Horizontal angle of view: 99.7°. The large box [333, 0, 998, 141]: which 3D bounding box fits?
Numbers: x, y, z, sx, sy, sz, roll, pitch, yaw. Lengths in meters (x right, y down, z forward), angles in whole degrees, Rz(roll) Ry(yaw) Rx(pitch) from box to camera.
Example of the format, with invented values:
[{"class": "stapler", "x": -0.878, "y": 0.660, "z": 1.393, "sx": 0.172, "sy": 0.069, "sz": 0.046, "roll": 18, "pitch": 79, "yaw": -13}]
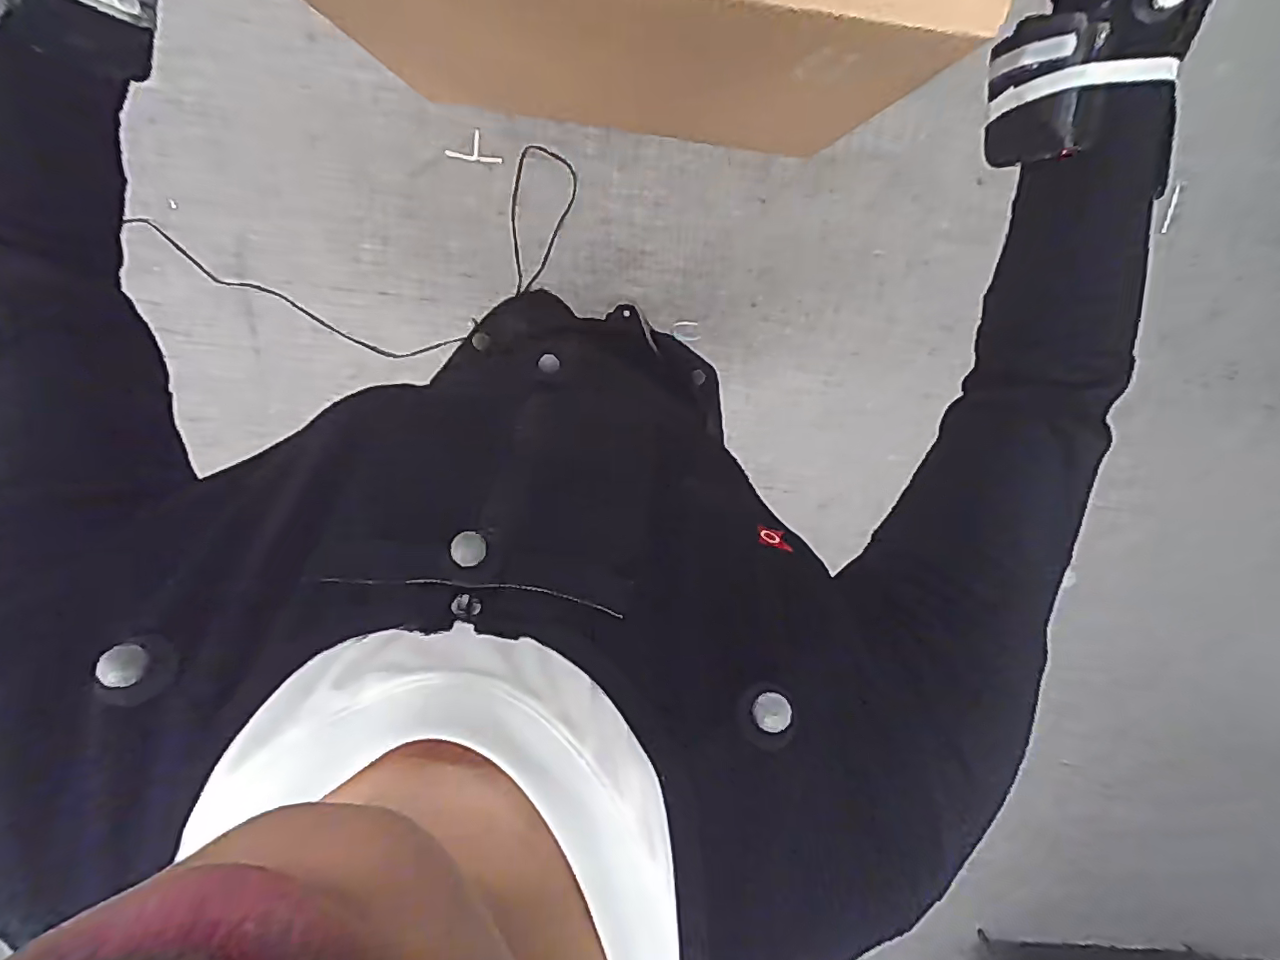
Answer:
[{"class": "large box", "x": 0.004, "y": -0.457, "z": 0.364, "sx": 0.408, "sy": 0.320, "sz": 0.320, "roll": 6, "pitch": 112, "yaw": -3}]
